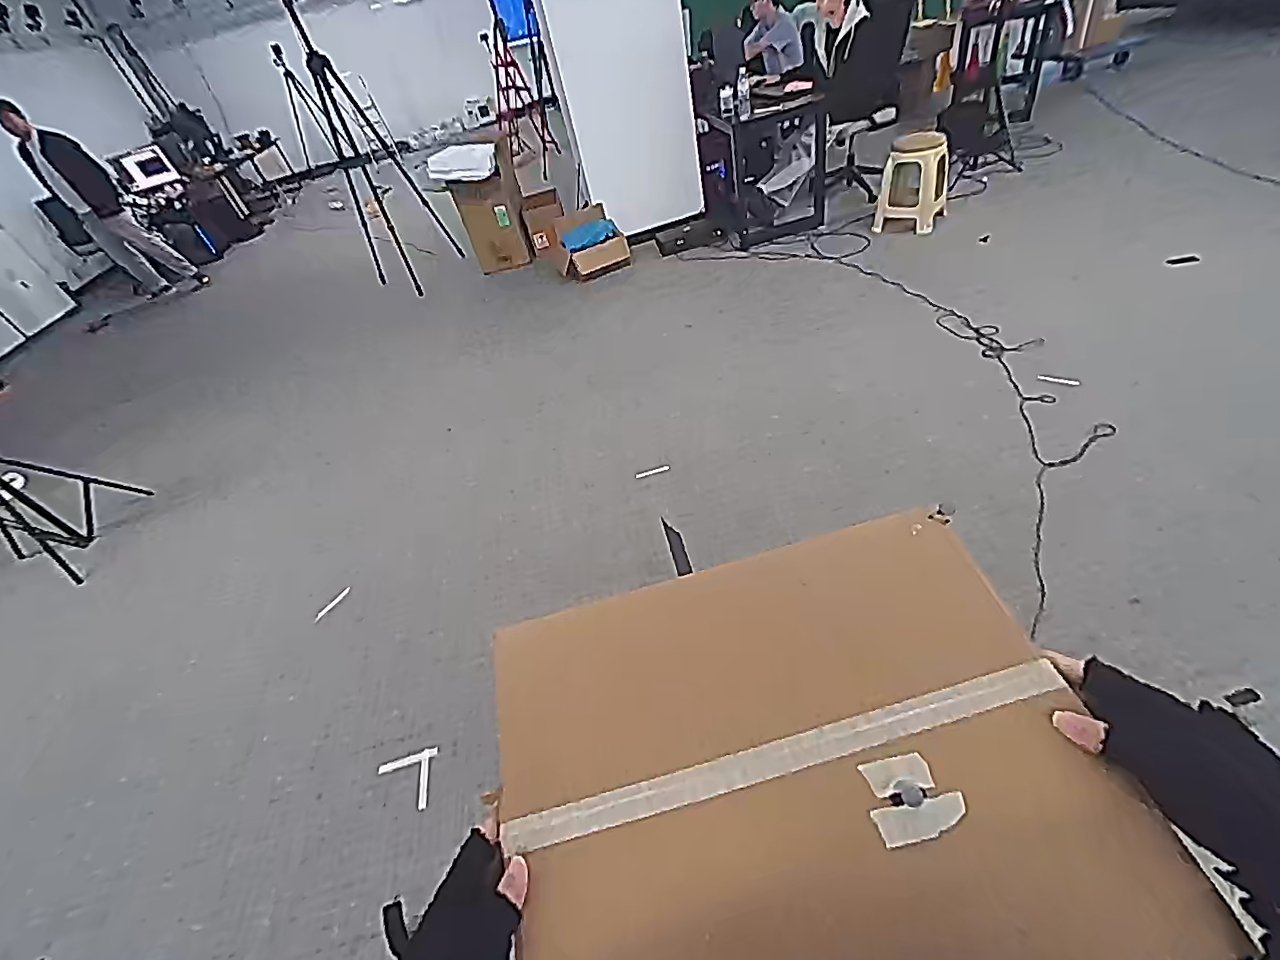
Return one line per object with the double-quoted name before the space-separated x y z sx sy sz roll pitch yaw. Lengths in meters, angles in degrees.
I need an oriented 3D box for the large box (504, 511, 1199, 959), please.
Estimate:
"large box" 0.123 0.287 0.515 0.408 0.320 0.320 -16 52 -2
